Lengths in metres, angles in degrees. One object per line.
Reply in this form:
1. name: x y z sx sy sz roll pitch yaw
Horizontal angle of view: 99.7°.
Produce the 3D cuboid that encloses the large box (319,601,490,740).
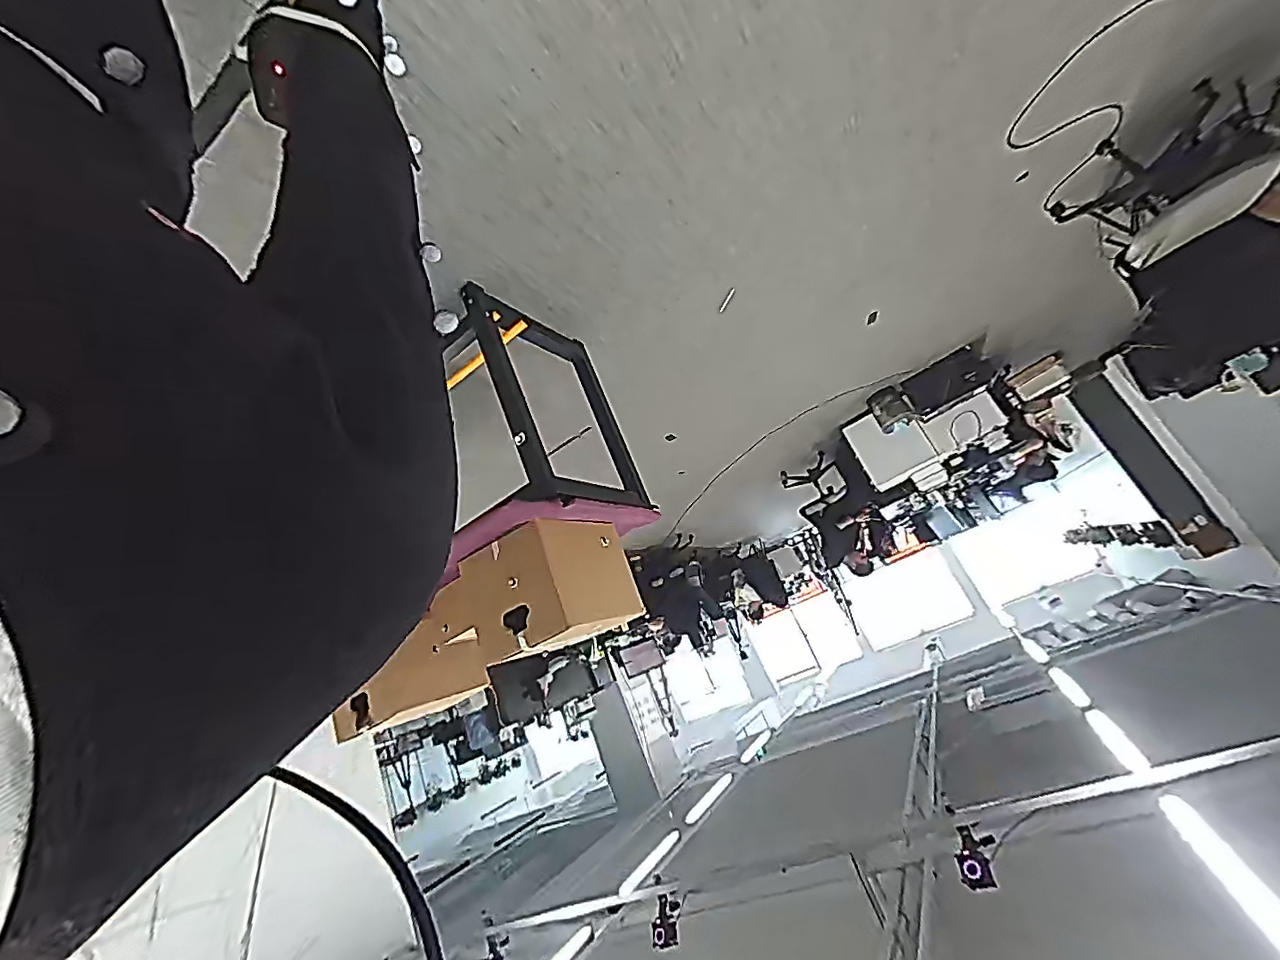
1. large box: -0.811 0.642 1.879 0.320 0.320 0.408 -31 162 22
